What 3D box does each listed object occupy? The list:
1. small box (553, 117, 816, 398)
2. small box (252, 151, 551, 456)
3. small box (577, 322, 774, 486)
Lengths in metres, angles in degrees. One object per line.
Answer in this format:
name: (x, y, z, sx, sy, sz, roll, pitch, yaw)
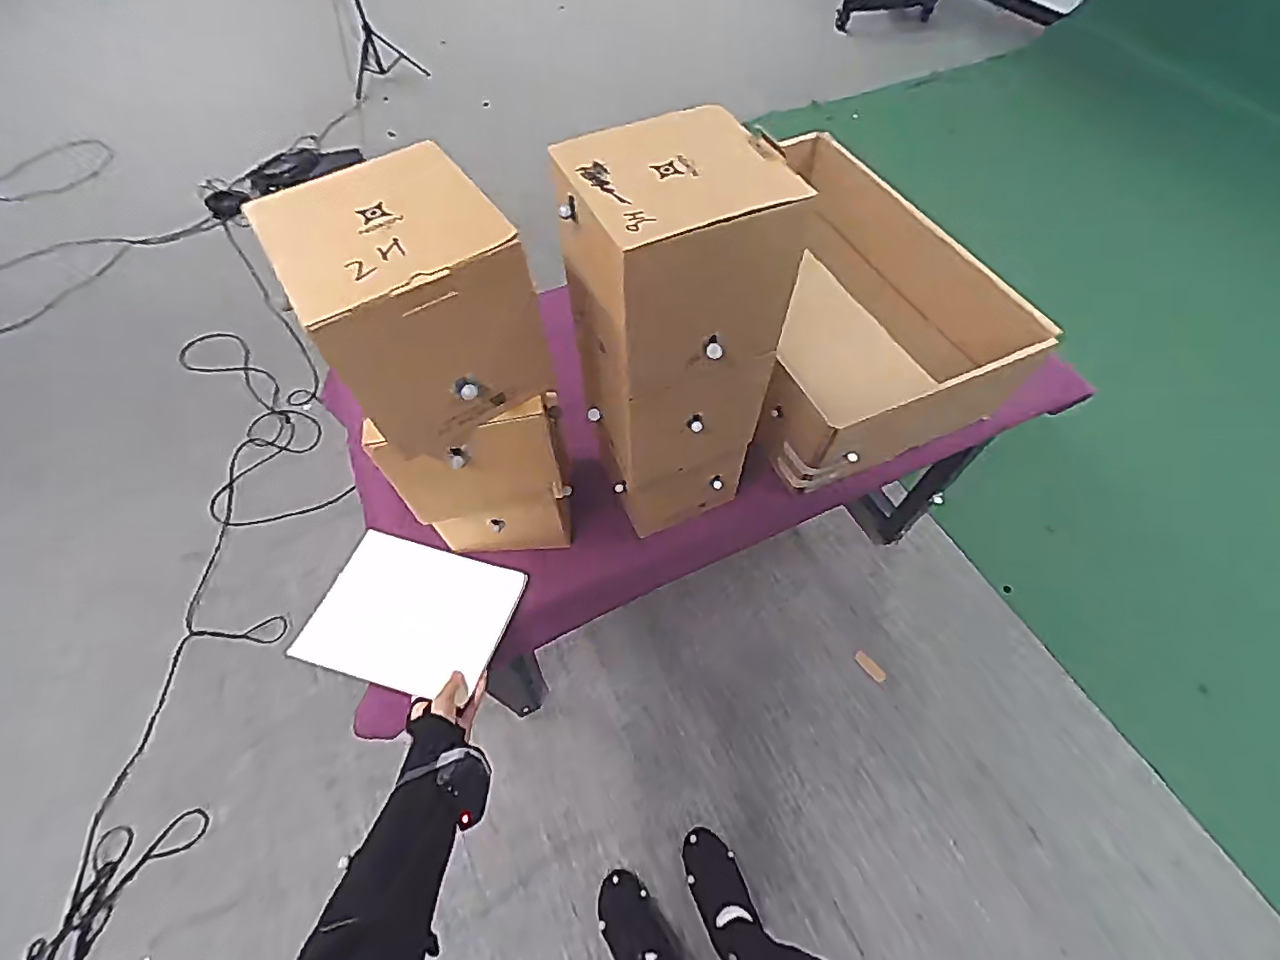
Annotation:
small box: (0.031, -0.209, 0.521, 0.179, 0.176, 0.168, -21, 59, -13)
small box: (-0.201, -0.155, 0.492, 0.168, 0.176, 0.179, -31, 63, -16)
small box: (0.033, -0.121, 0.659, 0.179, 0.176, 0.168, -21, 59, -12)
